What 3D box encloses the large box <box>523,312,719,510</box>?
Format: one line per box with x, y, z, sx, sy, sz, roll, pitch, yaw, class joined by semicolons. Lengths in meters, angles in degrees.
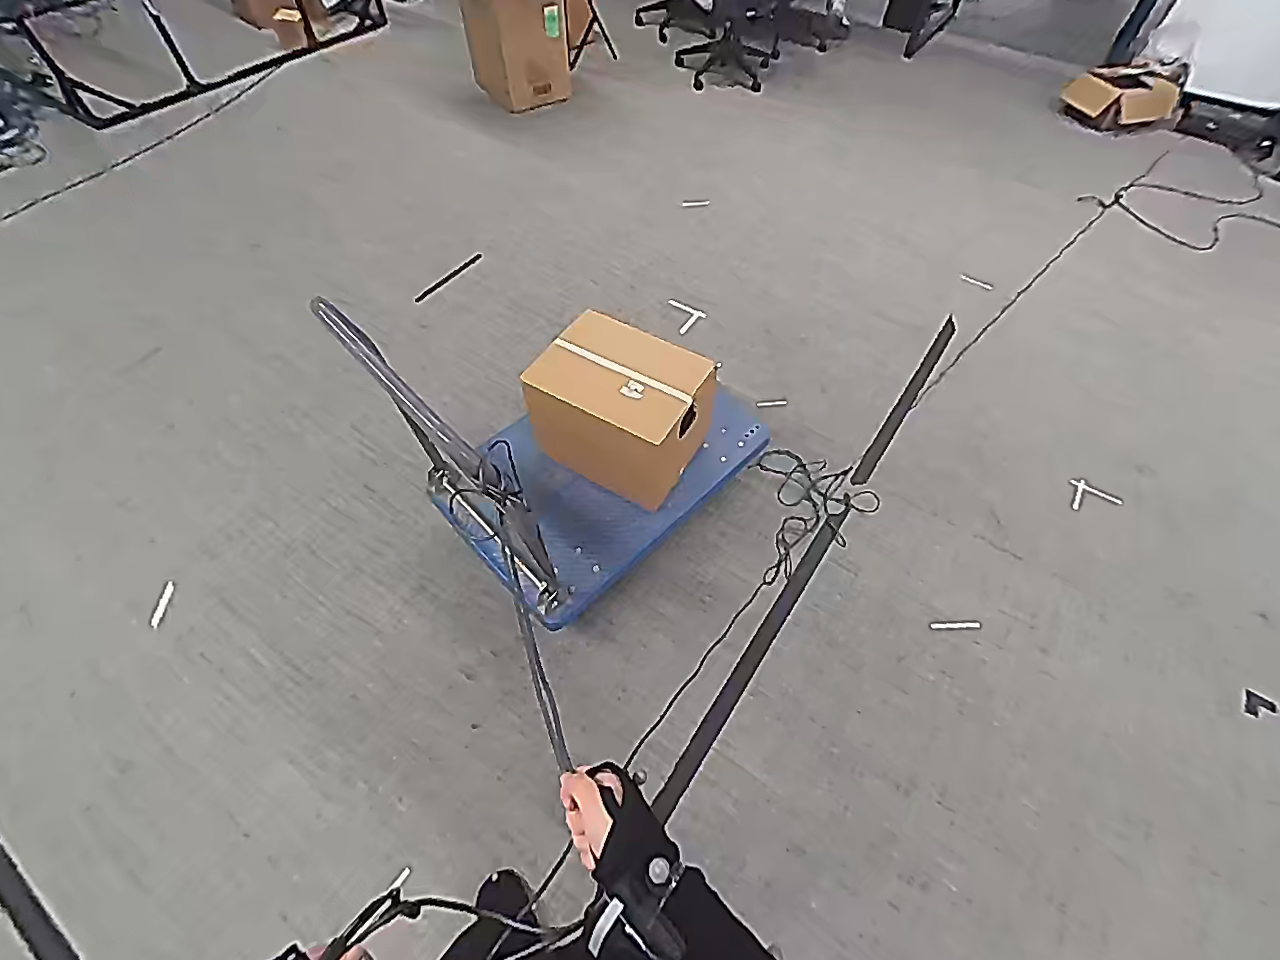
-0.050;-0.186;1.474;0.408;0.320;0.320;27;61;15;large box
